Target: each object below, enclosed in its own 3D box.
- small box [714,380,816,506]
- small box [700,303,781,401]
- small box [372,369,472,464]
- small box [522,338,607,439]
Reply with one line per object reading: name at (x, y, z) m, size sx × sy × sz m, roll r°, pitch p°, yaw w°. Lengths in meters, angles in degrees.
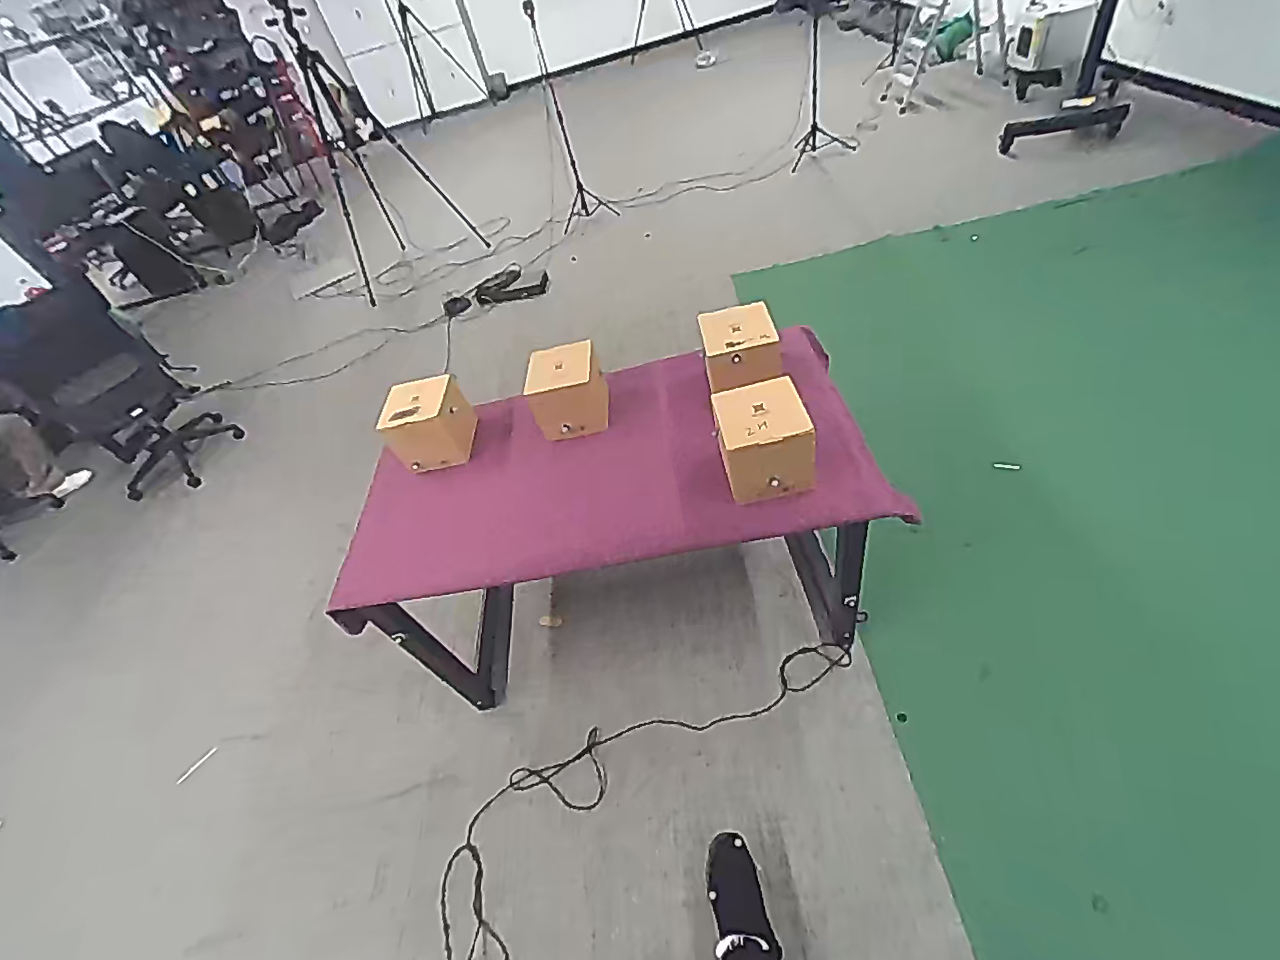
small box at (0.251, -0.074, 1.106) m, size 0.168 × 0.176 × 0.179 m, roll -12°, pitch 47°, yaw 6°
small box at (0.244, -0.299, 1.313) m, size 0.168 × 0.176 × 0.179 m, roll -10°, pitch 47°, yaw 7°
small box at (-0.553, -0.156, 1.399) m, size 0.168 × 0.176 × 0.179 m, roll -9°, pitch 48°, yaw 6°
small box at (-0.183, -0.229, 1.370) m, size 0.168 × 0.176 × 0.179 m, roll -9°, pitch 48°, yaw 8°
